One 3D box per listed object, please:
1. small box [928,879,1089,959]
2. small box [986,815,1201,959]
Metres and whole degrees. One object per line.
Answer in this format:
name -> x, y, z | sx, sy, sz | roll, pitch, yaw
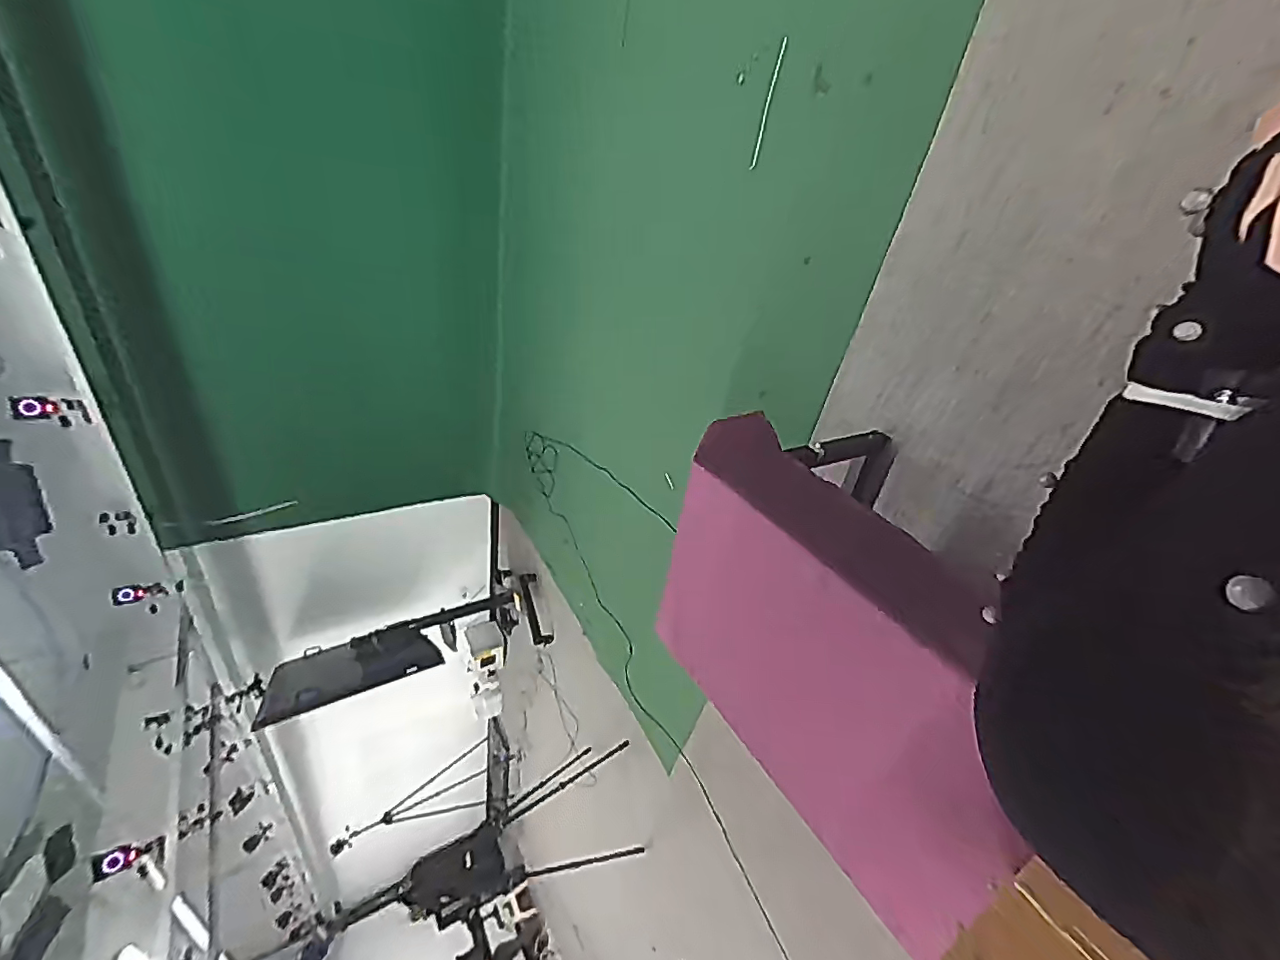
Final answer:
small box -> 0.428, 0.614, 0.611 | 0.179, 0.176, 0.168 | 41, 133, 46
small box -> 0.562, 0.582, 0.698 | 0.168, 0.176, 0.179 | 43, 135, 45
